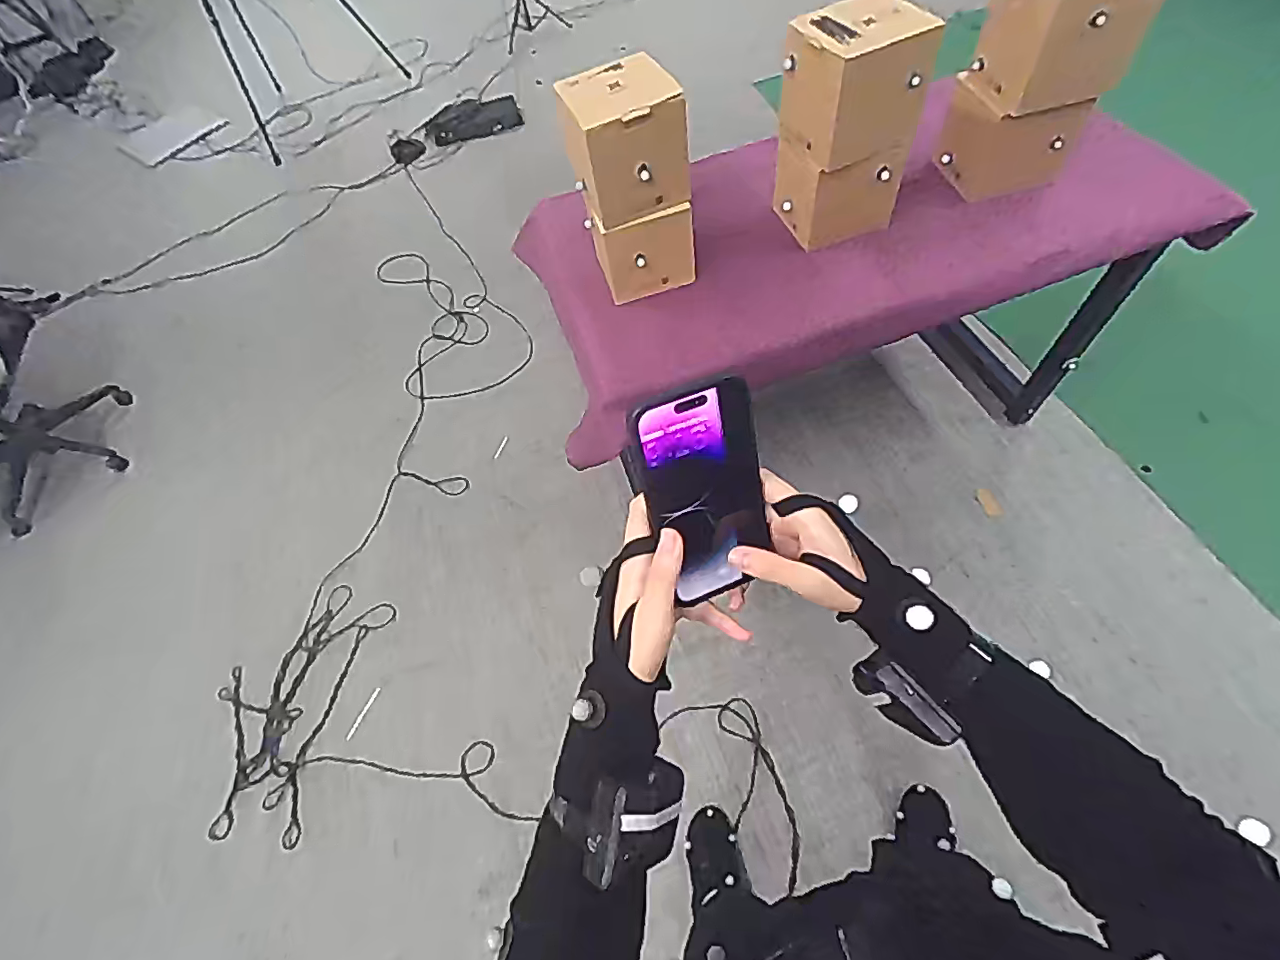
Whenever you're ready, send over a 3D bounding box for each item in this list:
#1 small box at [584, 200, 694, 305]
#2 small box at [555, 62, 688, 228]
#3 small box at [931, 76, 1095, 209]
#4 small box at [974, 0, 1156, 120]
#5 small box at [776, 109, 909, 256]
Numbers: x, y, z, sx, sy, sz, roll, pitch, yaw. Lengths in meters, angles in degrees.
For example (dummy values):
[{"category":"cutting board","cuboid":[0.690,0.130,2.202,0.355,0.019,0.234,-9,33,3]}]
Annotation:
[{"category":"small box","cuboid":[0.001,-0.466,1.053,0.168,0.176,0.179,-17,58,-1]},{"category":"small box","cuboid":[-0.026,-0.556,0.917,0.168,0.176,0.179,-21,59,-4]},{"category":"small box","cuboid":[0.706,-0.663,1.048,0.179,0.176,0.168,-13,58,3]},{"category":"small box","cuboid":[0.694,-0.736,0.901,0.179,0.176,0.168,-13,58,1]},{"category":"small box","cuboid":[0.378,-0.570,1.048,0.179,0.176,0.168,-18,58,-1]}]
